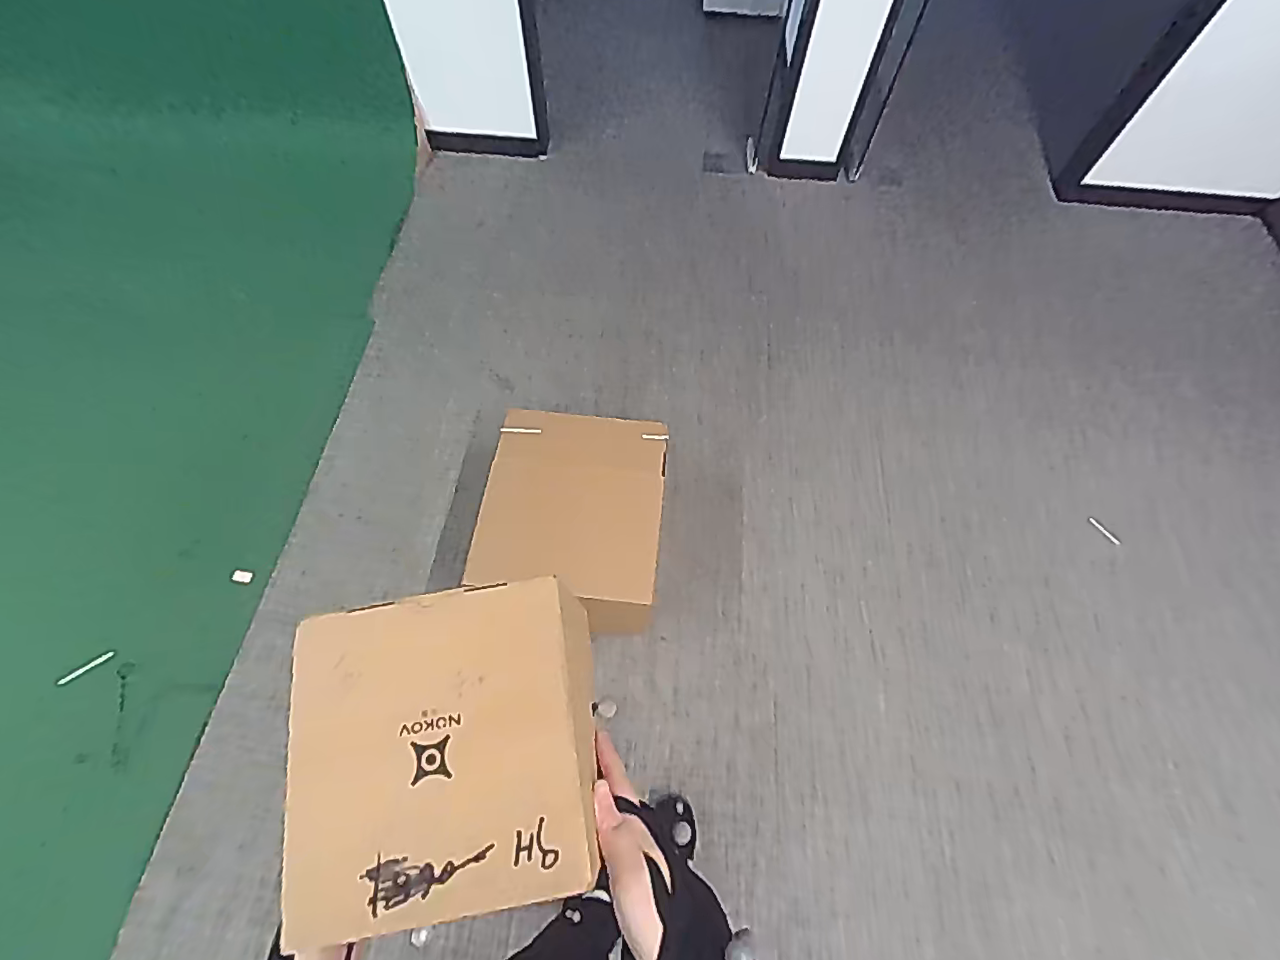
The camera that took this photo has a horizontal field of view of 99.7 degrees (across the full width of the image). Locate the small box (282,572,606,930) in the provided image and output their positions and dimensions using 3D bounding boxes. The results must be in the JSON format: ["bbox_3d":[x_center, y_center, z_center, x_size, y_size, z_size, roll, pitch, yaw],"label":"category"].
[{"bbox_3d":[-0.120,0.181,0.396,0.168,0.176,0.179,-9,67,-2],"label":"small box"}]
